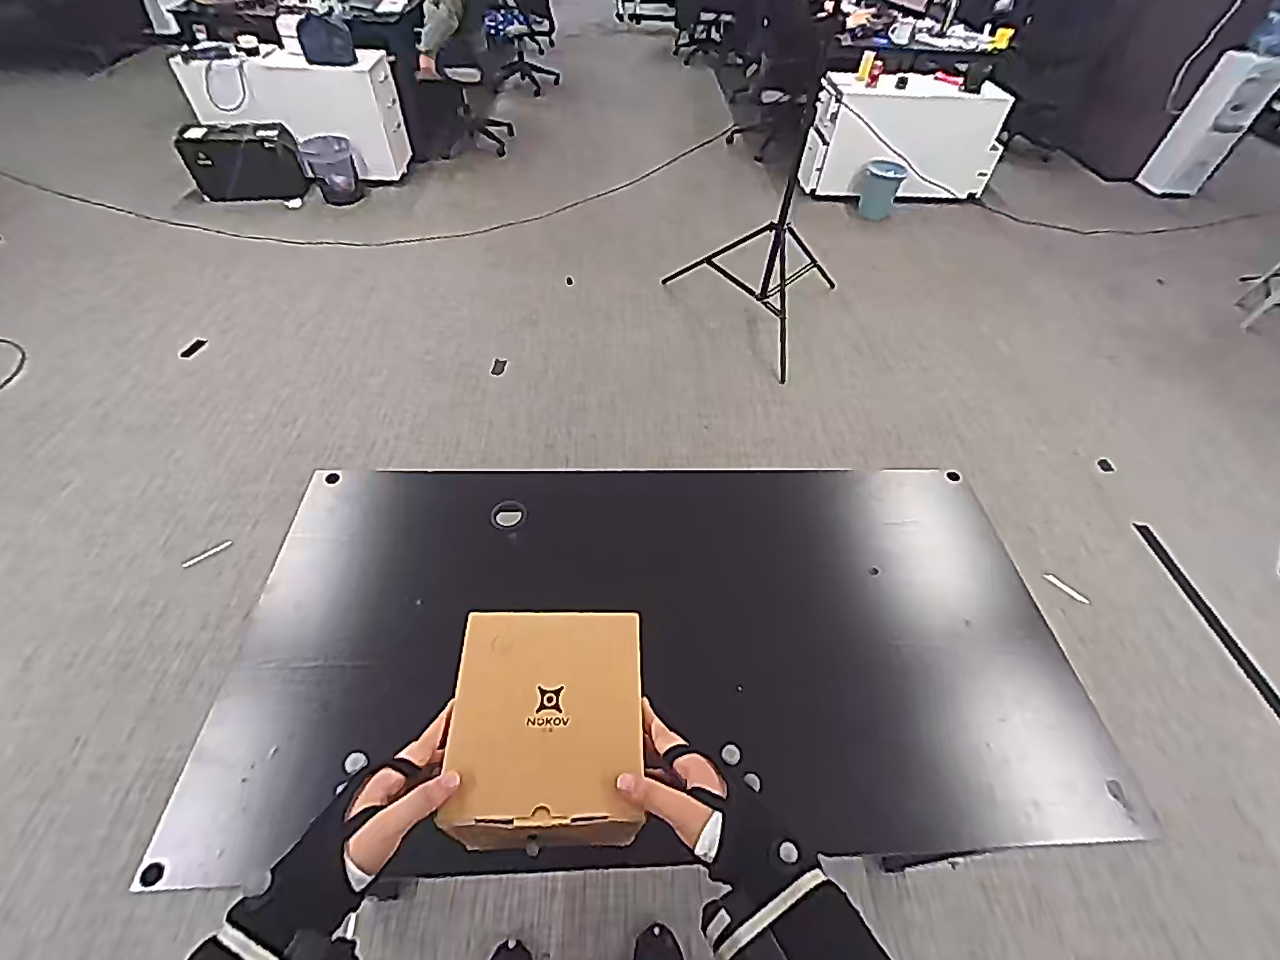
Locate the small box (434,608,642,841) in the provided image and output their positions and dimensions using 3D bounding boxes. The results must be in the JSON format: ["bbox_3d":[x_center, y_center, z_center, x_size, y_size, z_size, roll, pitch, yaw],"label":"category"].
[{"bbox_3d":[-0.089,0.244,0.538,0.168,0.176,0.179,1,51,-5],"label":"small box"}]
